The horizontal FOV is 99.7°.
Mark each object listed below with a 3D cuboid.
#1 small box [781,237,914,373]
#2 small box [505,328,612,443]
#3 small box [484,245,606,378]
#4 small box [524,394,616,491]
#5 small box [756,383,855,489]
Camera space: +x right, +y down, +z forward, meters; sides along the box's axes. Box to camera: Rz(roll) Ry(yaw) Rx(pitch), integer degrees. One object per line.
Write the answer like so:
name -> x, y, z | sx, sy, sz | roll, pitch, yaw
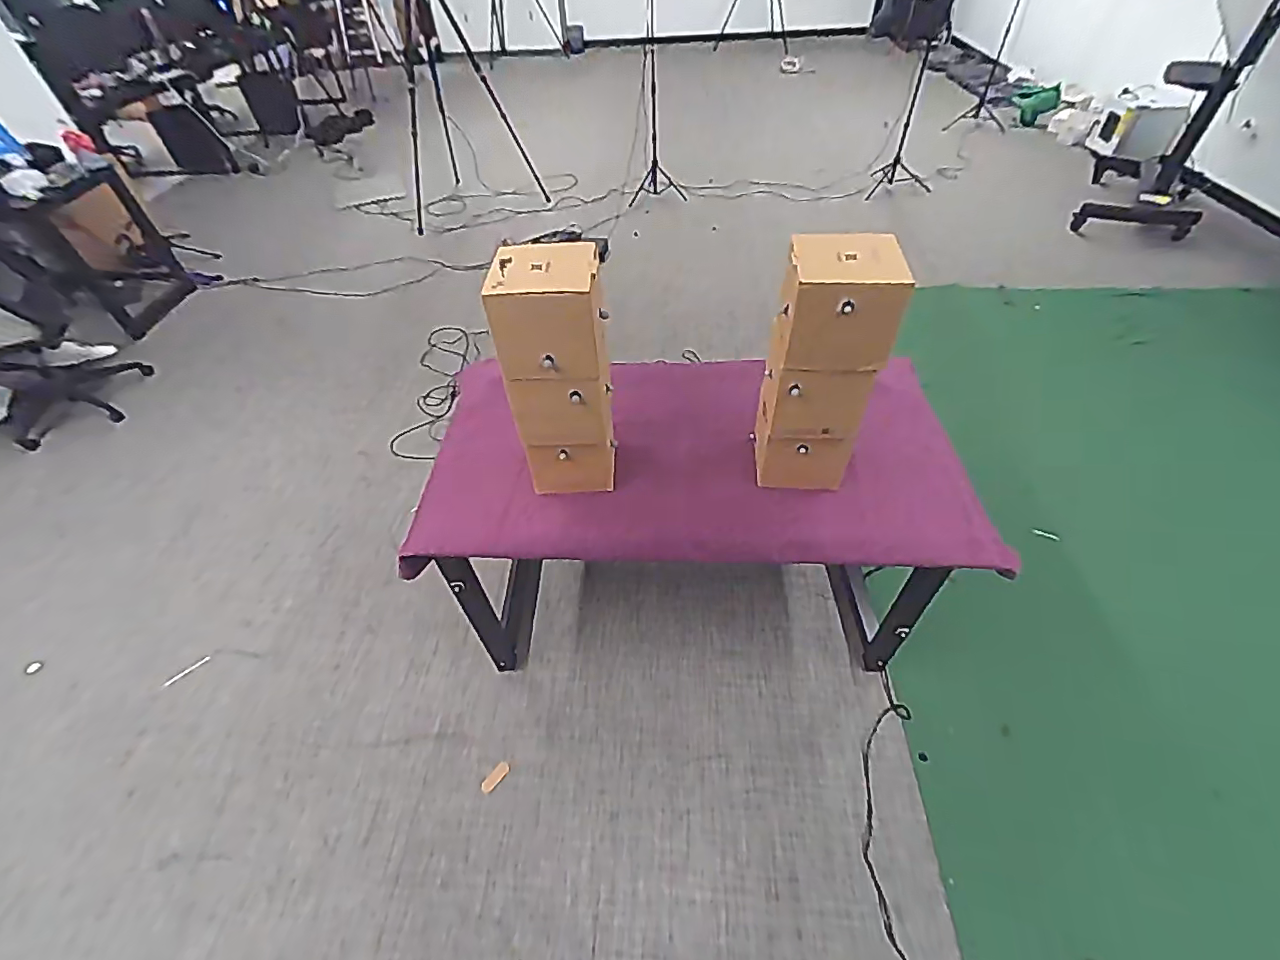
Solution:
small box -> 0.341, -0.299, 0.932 | 0.179, 0.176, 0.168 | 4, 49, 6
small box -> -0.150, -0.187, 1.075 | 0.179, 0.176, 0.168 | 0, 48, 3
small box -> -0.154, -0.293, 0.950 | 0.179, 0.176, 0.168 | 0, 48, 2
small box -> -0.146, -0.088, 1.208 | 0.179, 0.176, 0.168 | -2, 48, 2
small box -> 0.352, -0.094, 1.187 | 0.179, 0.176, 0.168 | 2, 48, 4
